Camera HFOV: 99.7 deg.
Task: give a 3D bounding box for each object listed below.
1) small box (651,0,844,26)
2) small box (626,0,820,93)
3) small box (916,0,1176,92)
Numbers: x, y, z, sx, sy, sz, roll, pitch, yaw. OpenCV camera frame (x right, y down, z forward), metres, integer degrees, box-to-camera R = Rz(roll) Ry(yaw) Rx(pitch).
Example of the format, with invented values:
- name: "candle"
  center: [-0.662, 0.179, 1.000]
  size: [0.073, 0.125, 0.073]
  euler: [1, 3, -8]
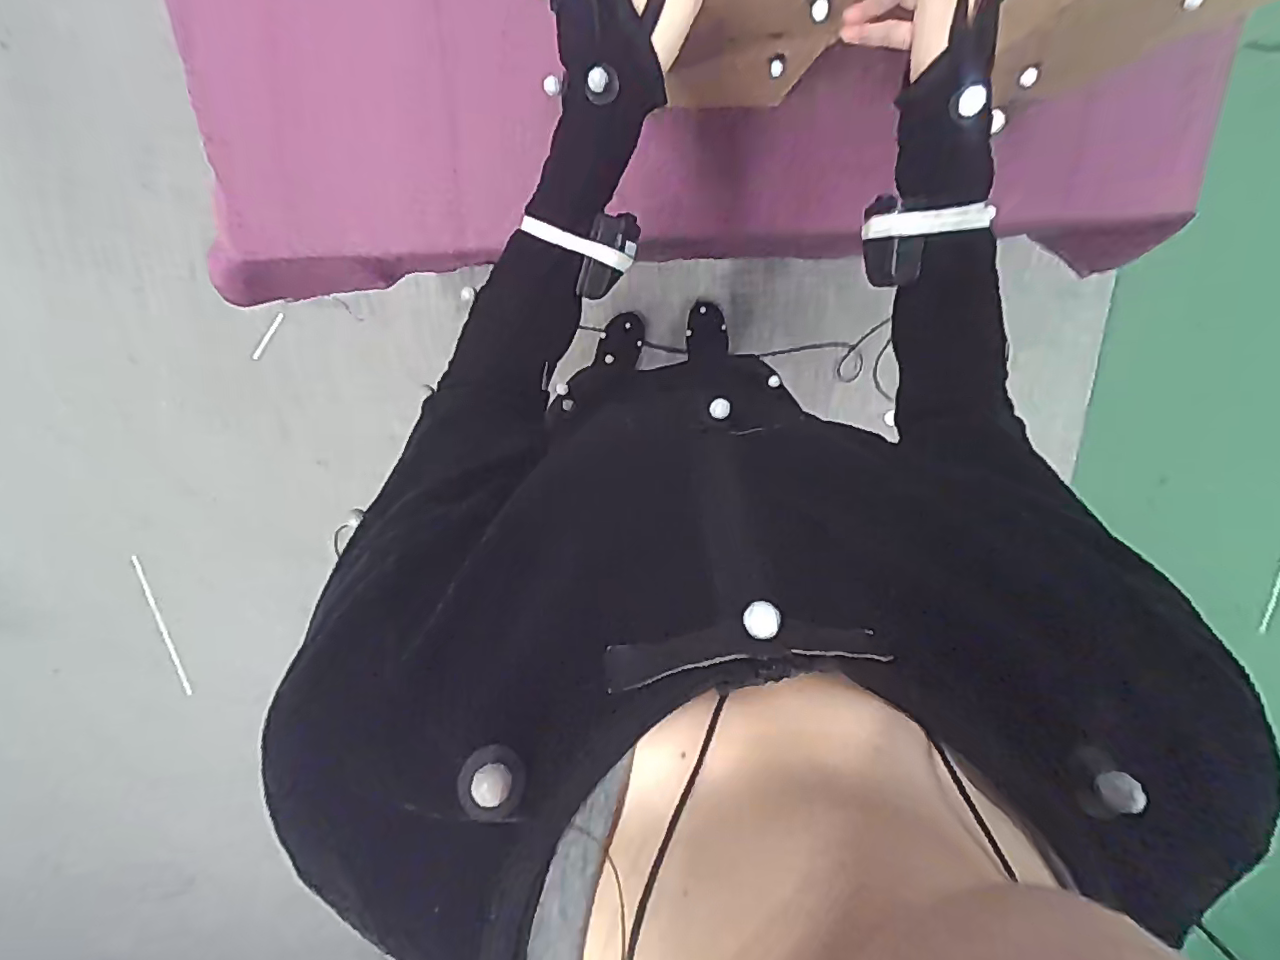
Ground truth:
- name: "small box"
  center: [0.089, -0.449, 0.372]
  size: [0.168, 0.176, 0.179]
  euler: [-5, 108, -3]
- name: "small box"
  center: [0.074, -0.500, 0.525]
  size: [0.179, 0.176, 0.168]
  euler: [-3, 108, -3]
- name: "small box"
  center: [0.400, -0.512, 0.534]
  size: [0.179, 0.176, 0.168]
  euler: [-6, 109, 0]
